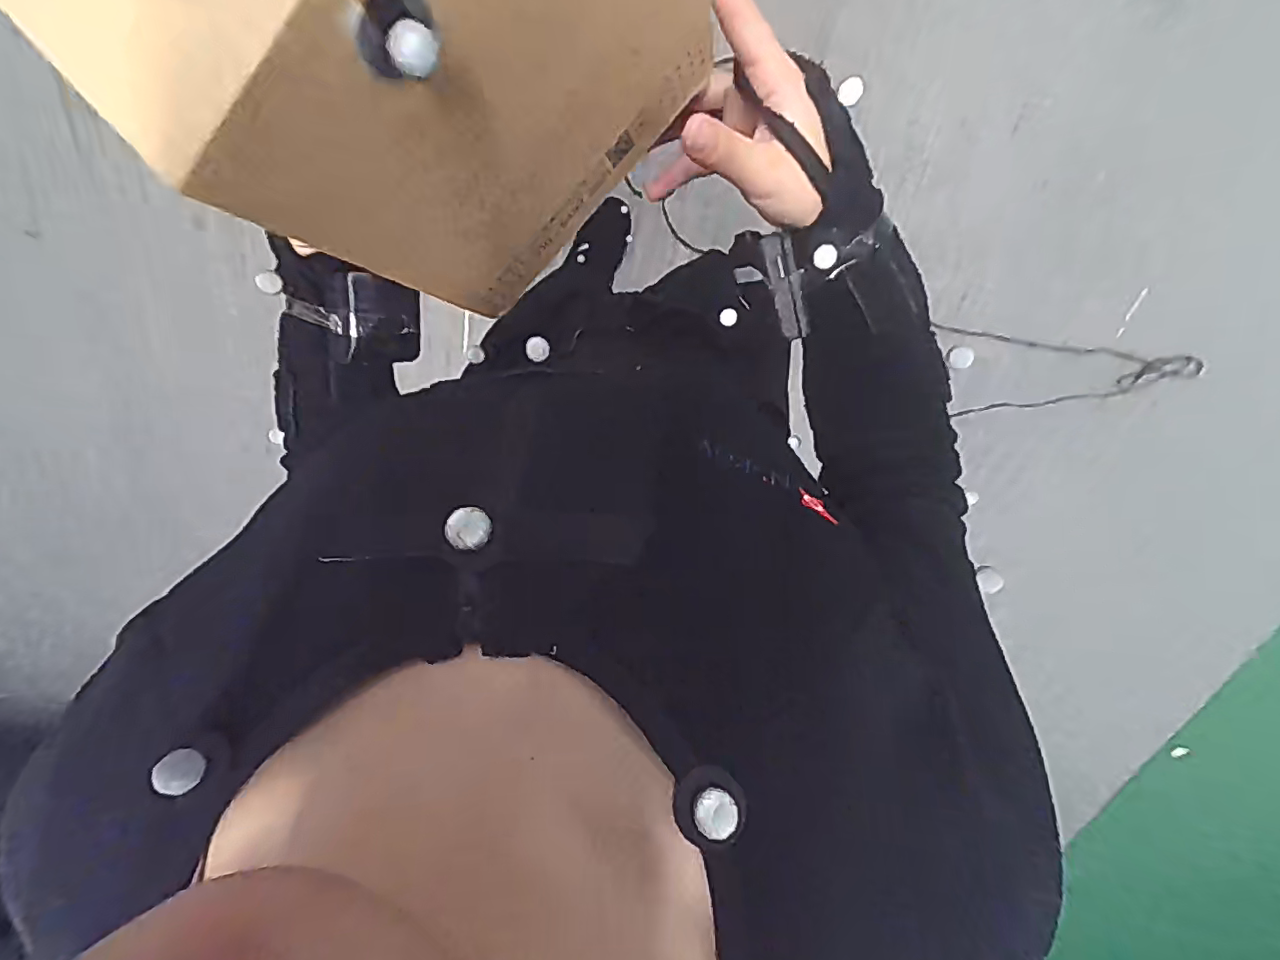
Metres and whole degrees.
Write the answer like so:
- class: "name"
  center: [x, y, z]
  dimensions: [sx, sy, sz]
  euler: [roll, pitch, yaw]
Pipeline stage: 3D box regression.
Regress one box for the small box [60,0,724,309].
- class: "small box"
  center: [-0.086, -0.194, 0.211]
  dimensions: [0.168, 0.176, 0.179]
  euler: [-44, 85, 13]
